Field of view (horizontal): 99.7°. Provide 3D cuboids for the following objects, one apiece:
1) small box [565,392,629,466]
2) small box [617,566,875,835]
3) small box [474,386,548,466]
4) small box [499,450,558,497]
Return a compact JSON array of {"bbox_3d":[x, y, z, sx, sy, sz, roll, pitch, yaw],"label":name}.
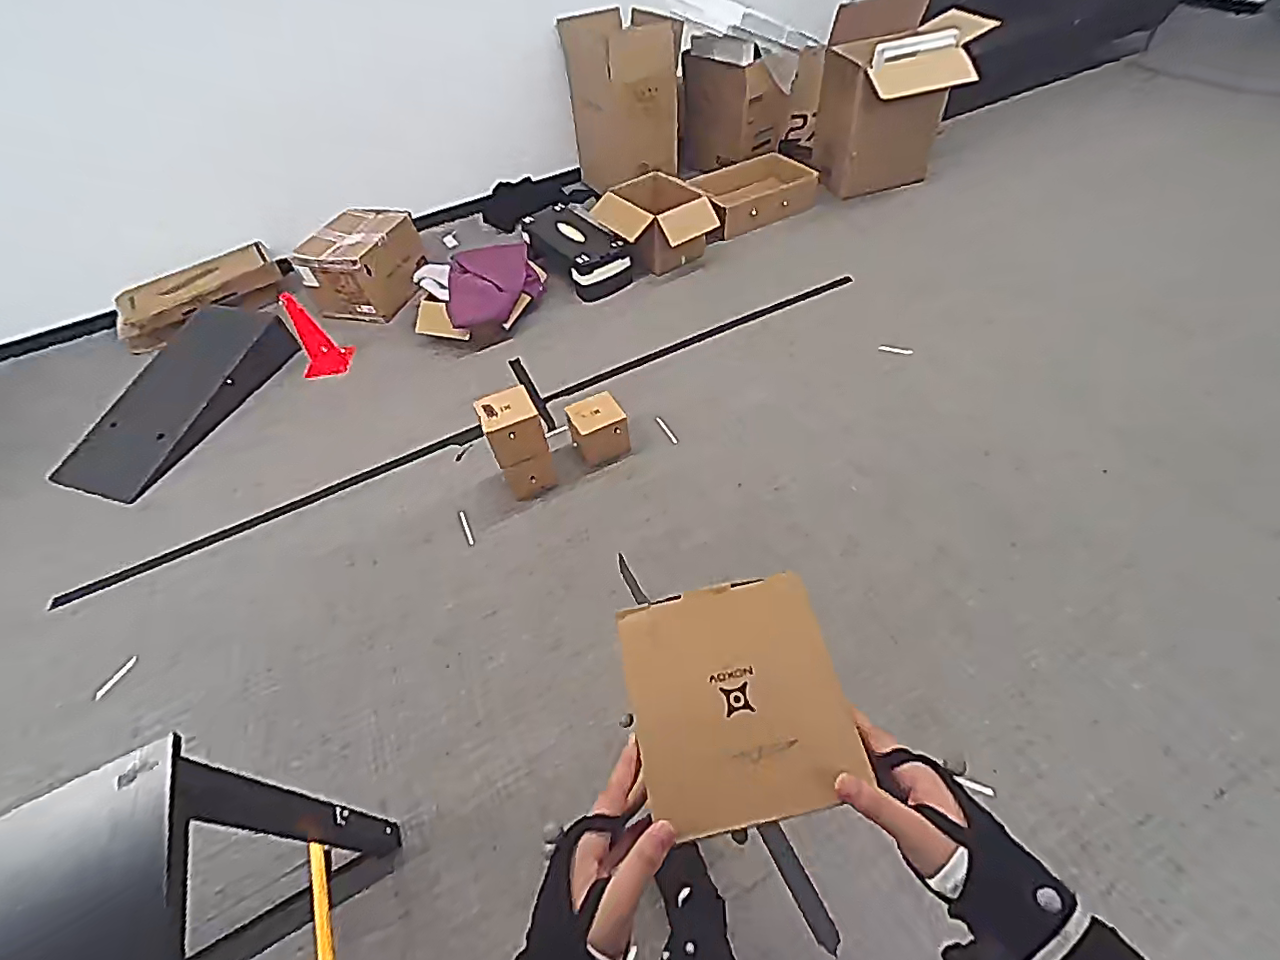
[{"bbox_3d":[-0.149,-0.182,1.956,0.179,0.176,0.168,-25,52,-14],"label":"small box"},{"bbox_3d":[0.076,0.201,0.490,0.168,0.176,0.179,-11,60,-3],"label":"small box"},{"bbox_3d":[-0.418,-0.172,1.765,0.179,0.176,0.168,-23,51,-12],"label":"small box"},{"bbox_3d":[-0.400,-0.062,1.888,0.168,0.176,0.179,-23,52,-11],"label":"small box"}]
